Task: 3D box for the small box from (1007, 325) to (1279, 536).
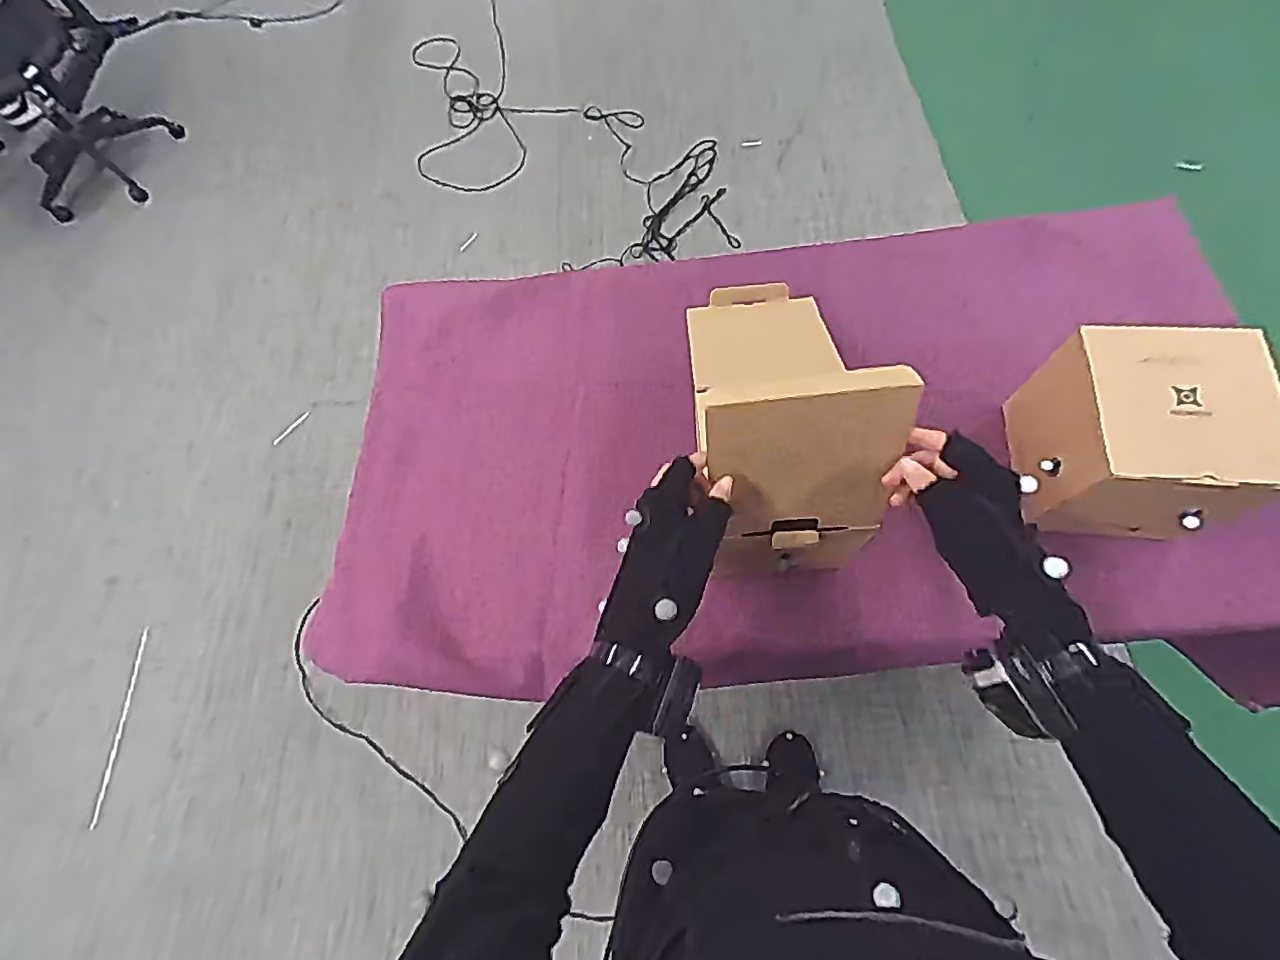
[{"bbox_3d":[0.538,-0.046,0.595,0.168,0.176,0.179,5,68,10],"label":"small box"}]
